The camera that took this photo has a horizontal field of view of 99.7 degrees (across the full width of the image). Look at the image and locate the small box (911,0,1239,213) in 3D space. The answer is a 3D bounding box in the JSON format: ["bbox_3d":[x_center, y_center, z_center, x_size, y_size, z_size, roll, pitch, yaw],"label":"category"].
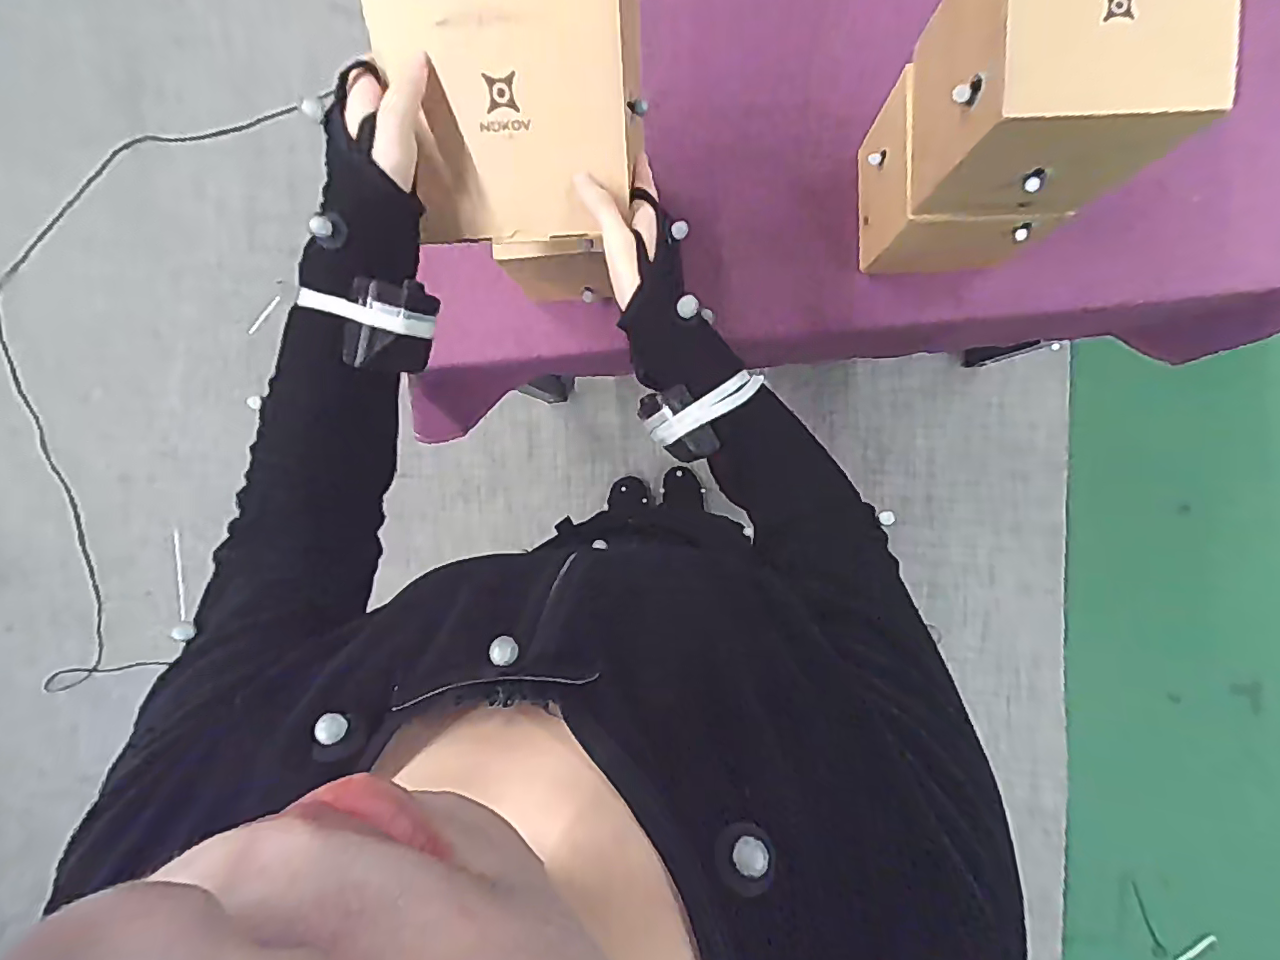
[{"bbox_3d":[0.361,-0.357,0.481,0.168,0.176,0.179,1,92,4],"label":"small box"}]

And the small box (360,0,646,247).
[{"bbox_3d":[-0.085,-0.291,0.428,0.168,0.176,0.179,1,120,6],"label":"small box"}]

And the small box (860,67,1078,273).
[{"bbox_3d":[0.374,-0.358,0.646,0.179,0.176,0.168,-1,92,4],"label":"small box"}]

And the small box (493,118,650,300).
[{"bbox_3d":[-0.076,-0.335,0.682,0.179,0.176,0.168,-2,92,4],"label":"small box"}]
